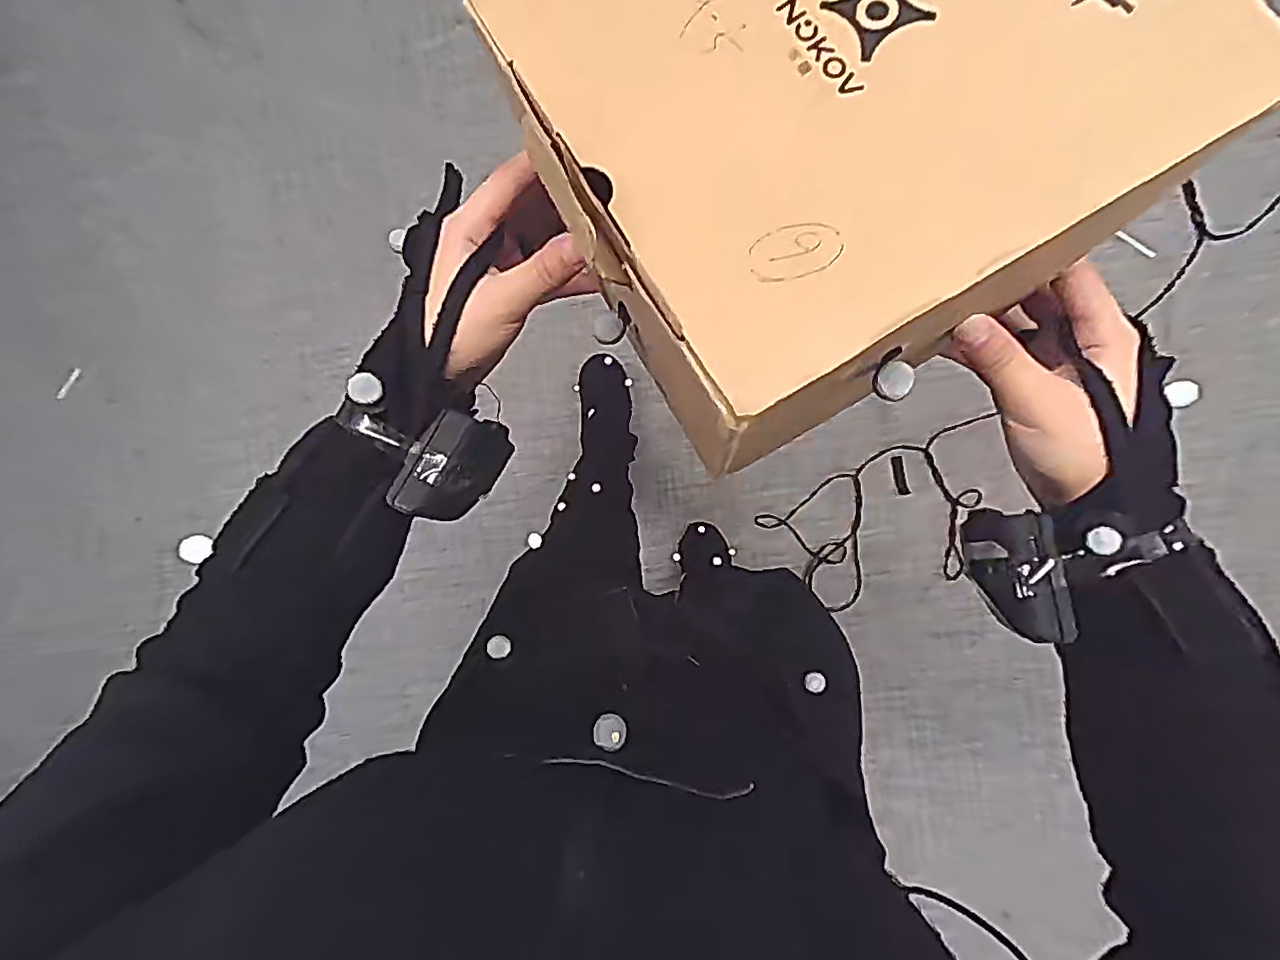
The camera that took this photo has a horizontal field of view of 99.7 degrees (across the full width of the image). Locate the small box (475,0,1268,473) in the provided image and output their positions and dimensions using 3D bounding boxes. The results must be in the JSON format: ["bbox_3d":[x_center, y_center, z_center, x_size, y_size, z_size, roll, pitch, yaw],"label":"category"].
[{"bbox_3d":[0.067,-0.117,0.241,0.179,0.176,0.168,-31,82,4],"label":"small box"}]
